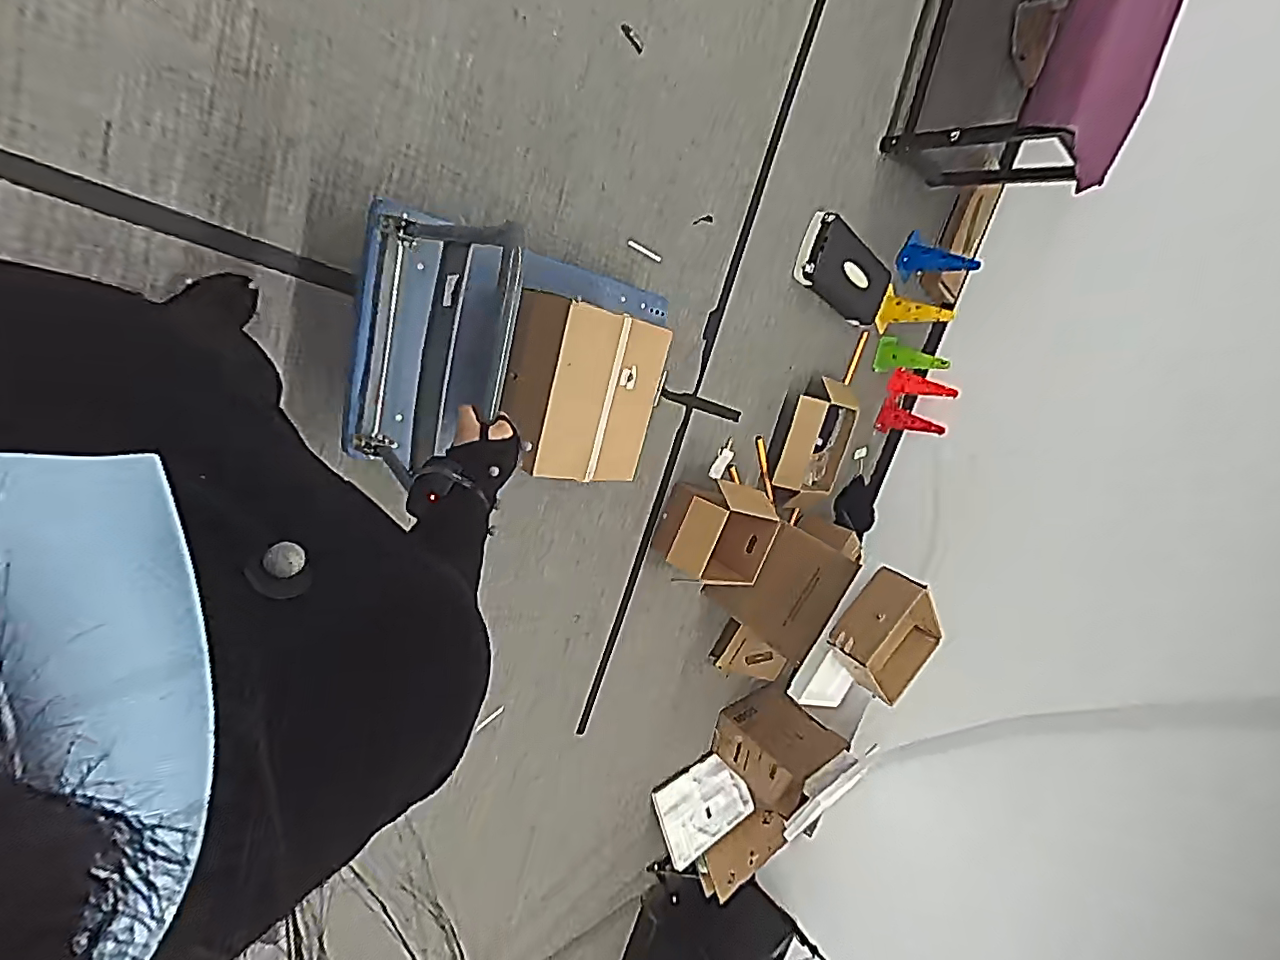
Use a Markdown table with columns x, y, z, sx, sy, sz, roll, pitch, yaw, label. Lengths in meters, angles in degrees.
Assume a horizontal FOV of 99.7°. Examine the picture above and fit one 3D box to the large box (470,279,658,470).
| x | y | z | sx | sy | sz | roll | pitch | yaw | label |
| --- | --- | --- | --- | --- | --- | --- | --- | --- | --- |
| -0.207 | -0.264 | 1.393 | 0.320 | 0.320 | 0.408 | 2 | 108 | -44 | large box |
